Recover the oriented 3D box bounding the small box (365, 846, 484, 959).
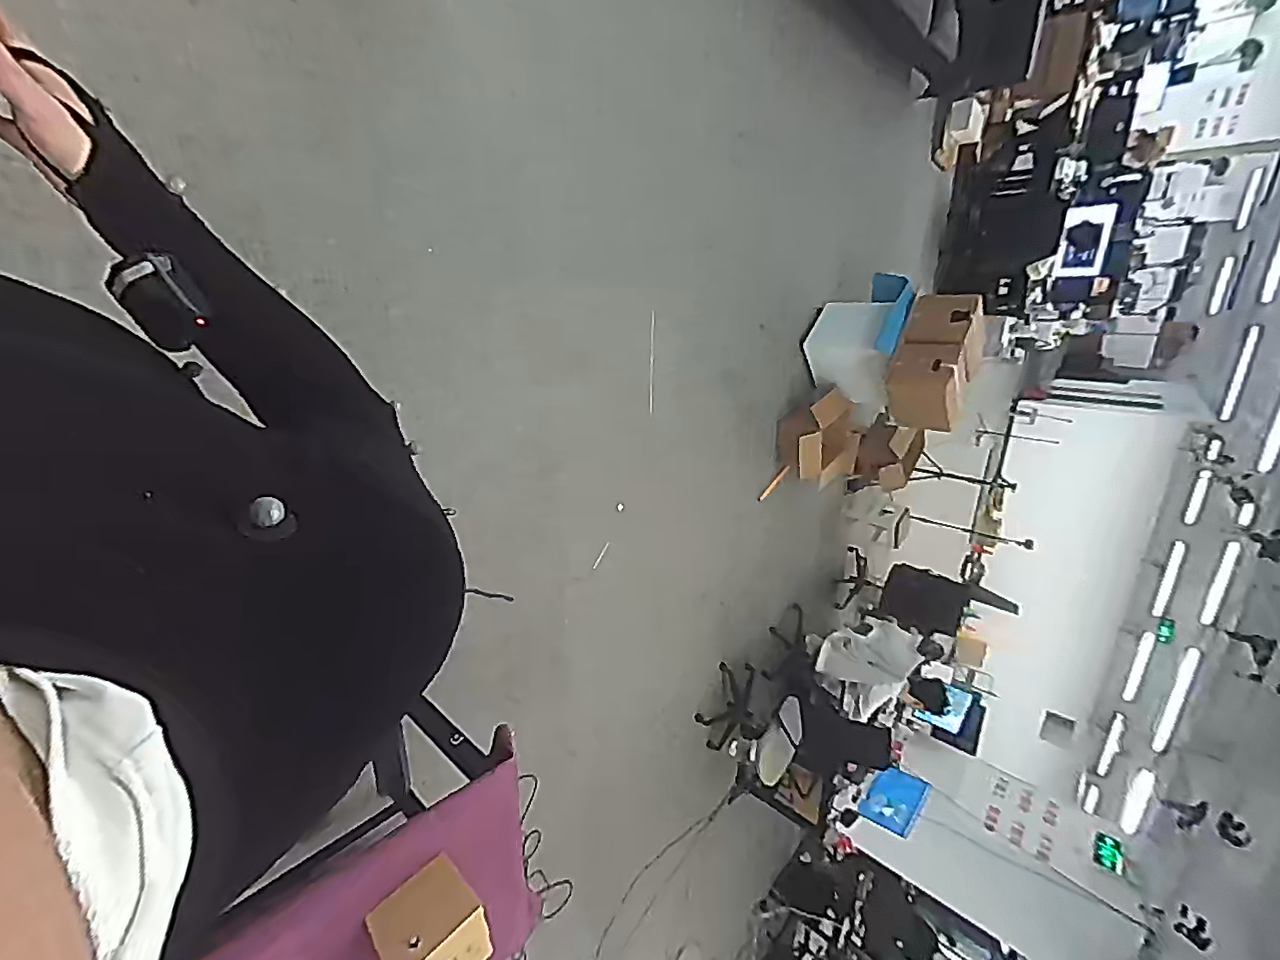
[{"bbox_3d":[-0.462,0.943,1.150,0.179,0.176,0.168,-25,122,-44],"label":"small box"}]
